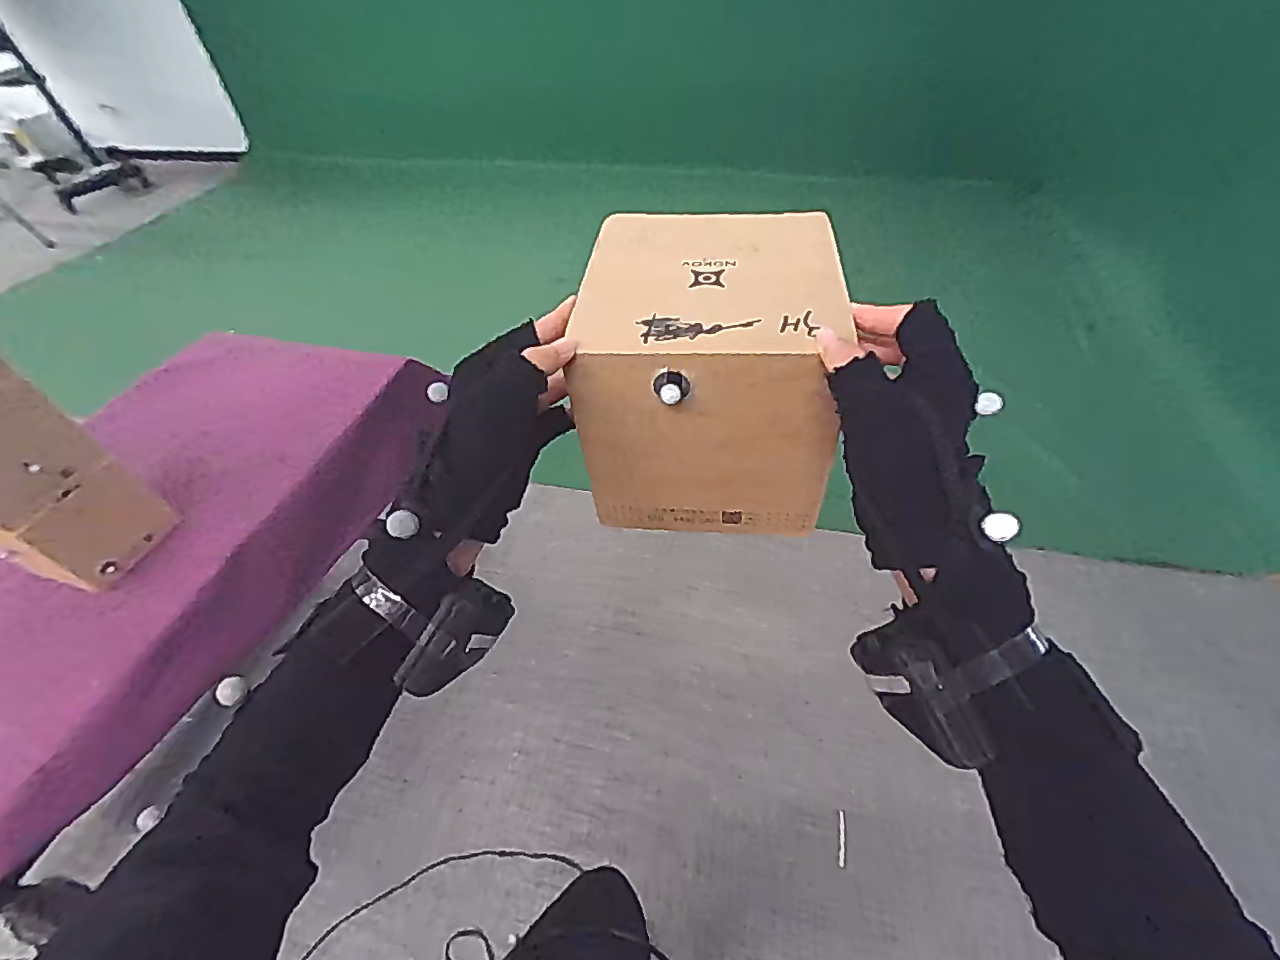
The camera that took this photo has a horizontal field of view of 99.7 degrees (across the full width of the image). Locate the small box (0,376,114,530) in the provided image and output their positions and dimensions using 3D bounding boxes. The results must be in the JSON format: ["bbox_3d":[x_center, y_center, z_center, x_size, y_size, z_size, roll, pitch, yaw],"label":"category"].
[{"bbox_3d":[-0.959,-0.046,0.791,0.179,0.176,0.168,10,49,13],"label":"small box"}]

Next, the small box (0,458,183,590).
[{"bbox_3d":[-0.942,0.065,0.911,0.179,0.176,0.168,10,49,14],"label":"small box"}]

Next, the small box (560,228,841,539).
[{"bbox_3d":[0.047,-0.077,0.424,0.168,0.176,0.179,3,48,8],"label":"small box"}]
